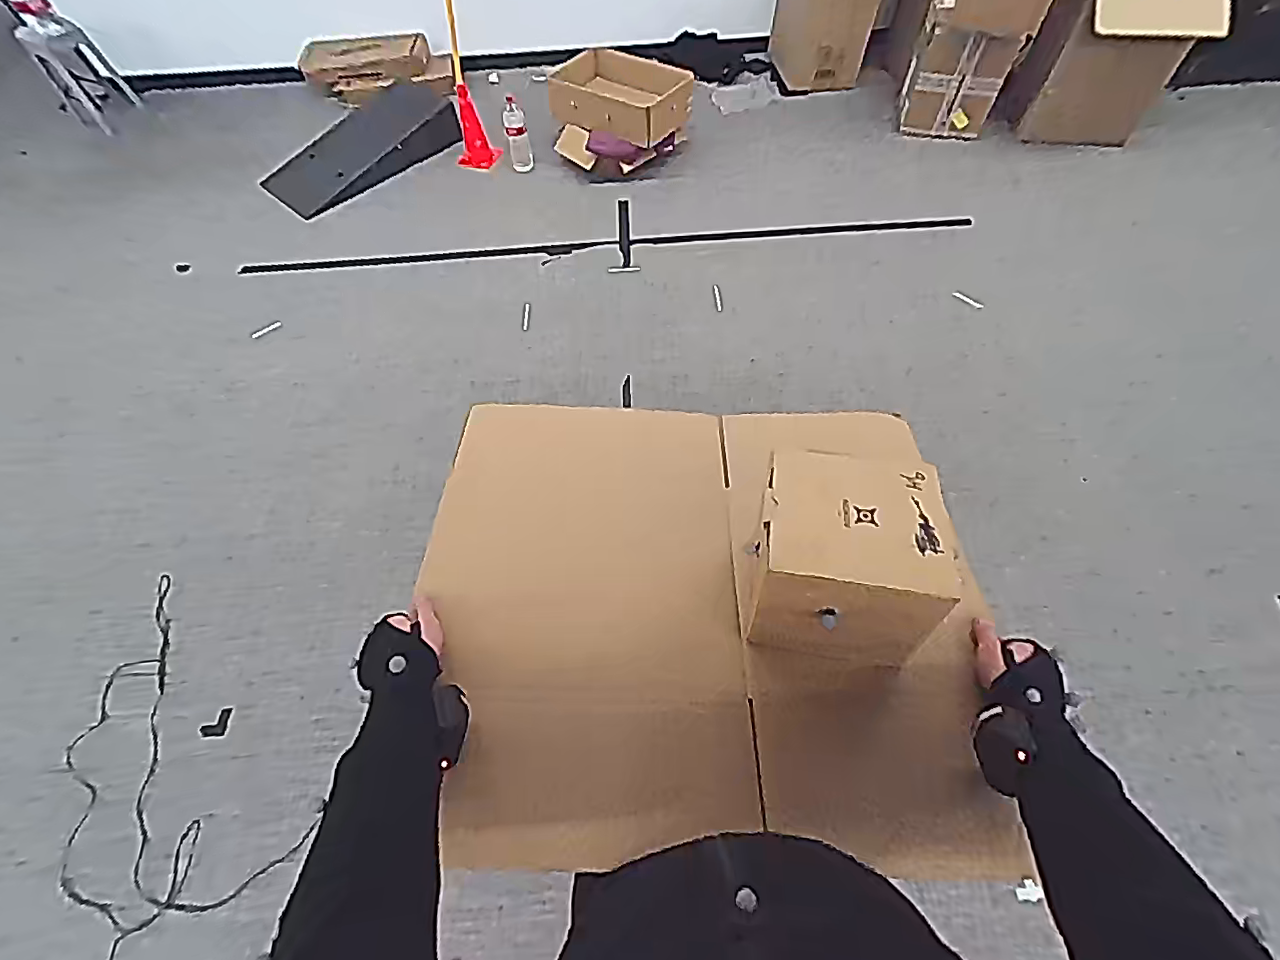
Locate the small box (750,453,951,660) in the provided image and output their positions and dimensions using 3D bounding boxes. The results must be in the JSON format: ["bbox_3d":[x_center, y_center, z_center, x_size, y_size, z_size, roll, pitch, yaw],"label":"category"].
[{"bbox_3d":[0.223,0.090,0.621,0.179,0.176,0.168,6,51,10],"label":"small box"}]
